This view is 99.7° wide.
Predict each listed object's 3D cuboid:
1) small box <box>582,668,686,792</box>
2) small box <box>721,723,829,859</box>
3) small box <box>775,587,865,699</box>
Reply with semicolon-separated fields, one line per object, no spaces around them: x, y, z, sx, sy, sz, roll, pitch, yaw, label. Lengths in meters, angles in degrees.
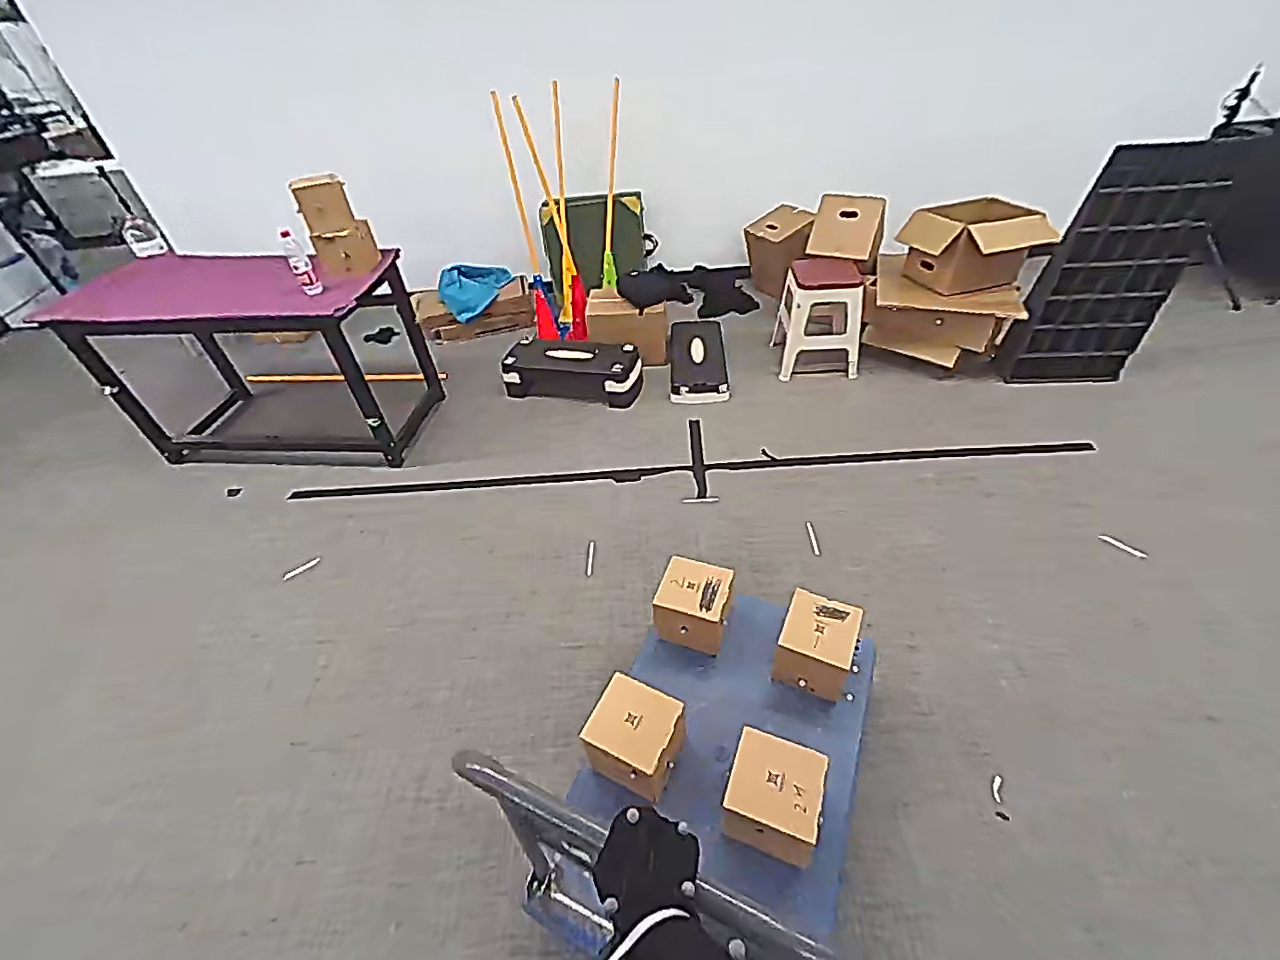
-0.008;0.564;1.216;0.179;0.176;0.168;18;47;22;small box
0.272;0.639;1.107;0.179;0.176;0.168;14;46;20;small box
0.442;0.404;1.343;0.168;0.176;0.179;17;48;22;small box
